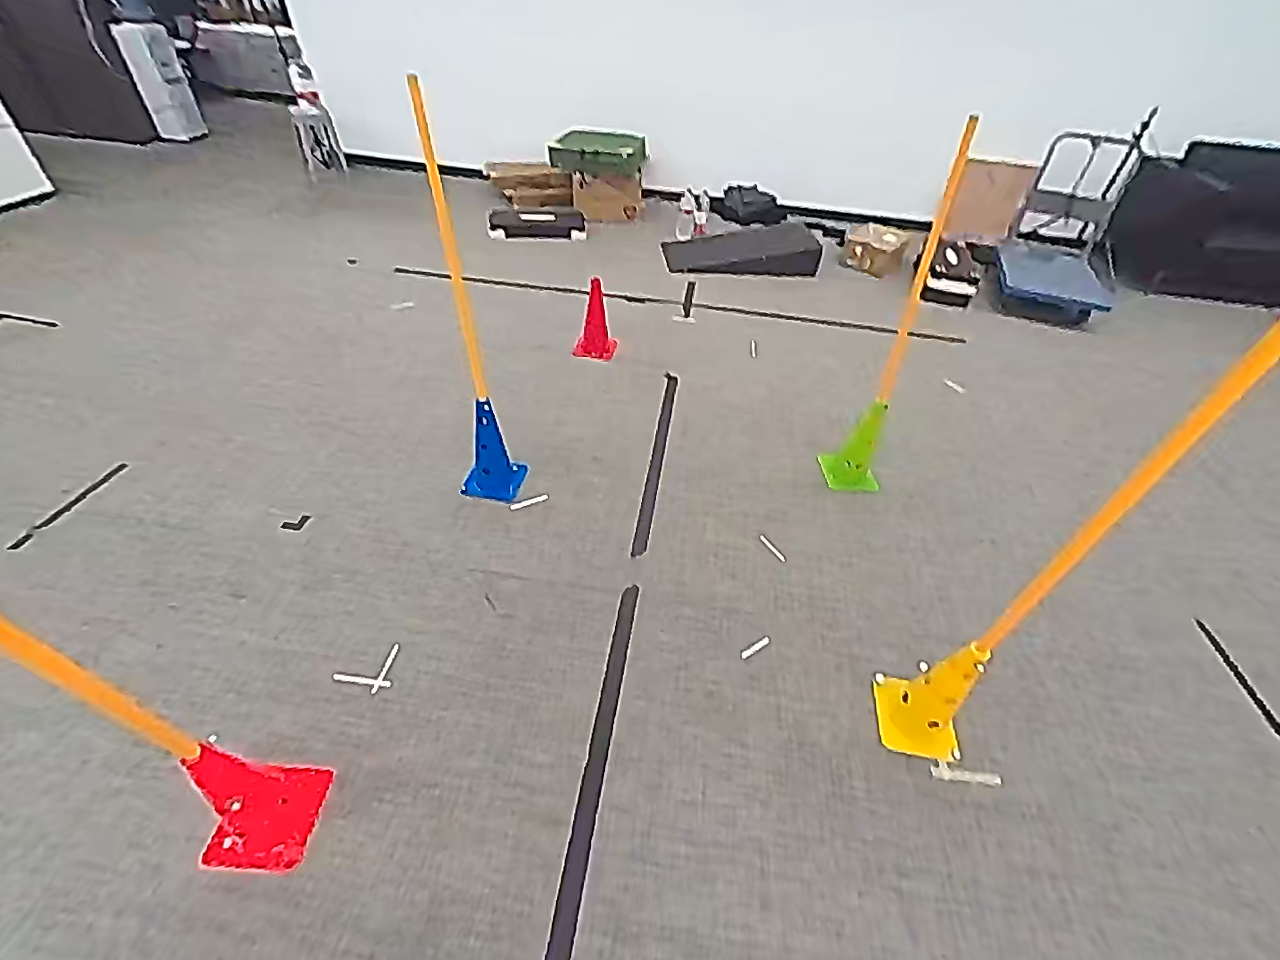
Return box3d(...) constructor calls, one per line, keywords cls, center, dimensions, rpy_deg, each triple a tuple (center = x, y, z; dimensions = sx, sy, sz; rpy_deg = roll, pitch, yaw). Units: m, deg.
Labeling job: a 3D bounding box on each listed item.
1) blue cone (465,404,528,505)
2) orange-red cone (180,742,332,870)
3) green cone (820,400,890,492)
box3d(cls="blue cone", center=(-0.511, -0.108, 1.867), dimensions=(0.193, 0.380, 0.192), rpy_deg=(10, 44, 6))
box3d(cls="orange-red cone", center=(-0.787, 0.598, 1.055), dimensions=(0.199, 0.360, 0.198), rpy_deg=(6, 43, -1))
box3d(cls="green cone", center=(0.844, -0.147, 2.031), dimensions=(0.200, 0.368, 0.202), rpy_deg=(1, 45, -4))
